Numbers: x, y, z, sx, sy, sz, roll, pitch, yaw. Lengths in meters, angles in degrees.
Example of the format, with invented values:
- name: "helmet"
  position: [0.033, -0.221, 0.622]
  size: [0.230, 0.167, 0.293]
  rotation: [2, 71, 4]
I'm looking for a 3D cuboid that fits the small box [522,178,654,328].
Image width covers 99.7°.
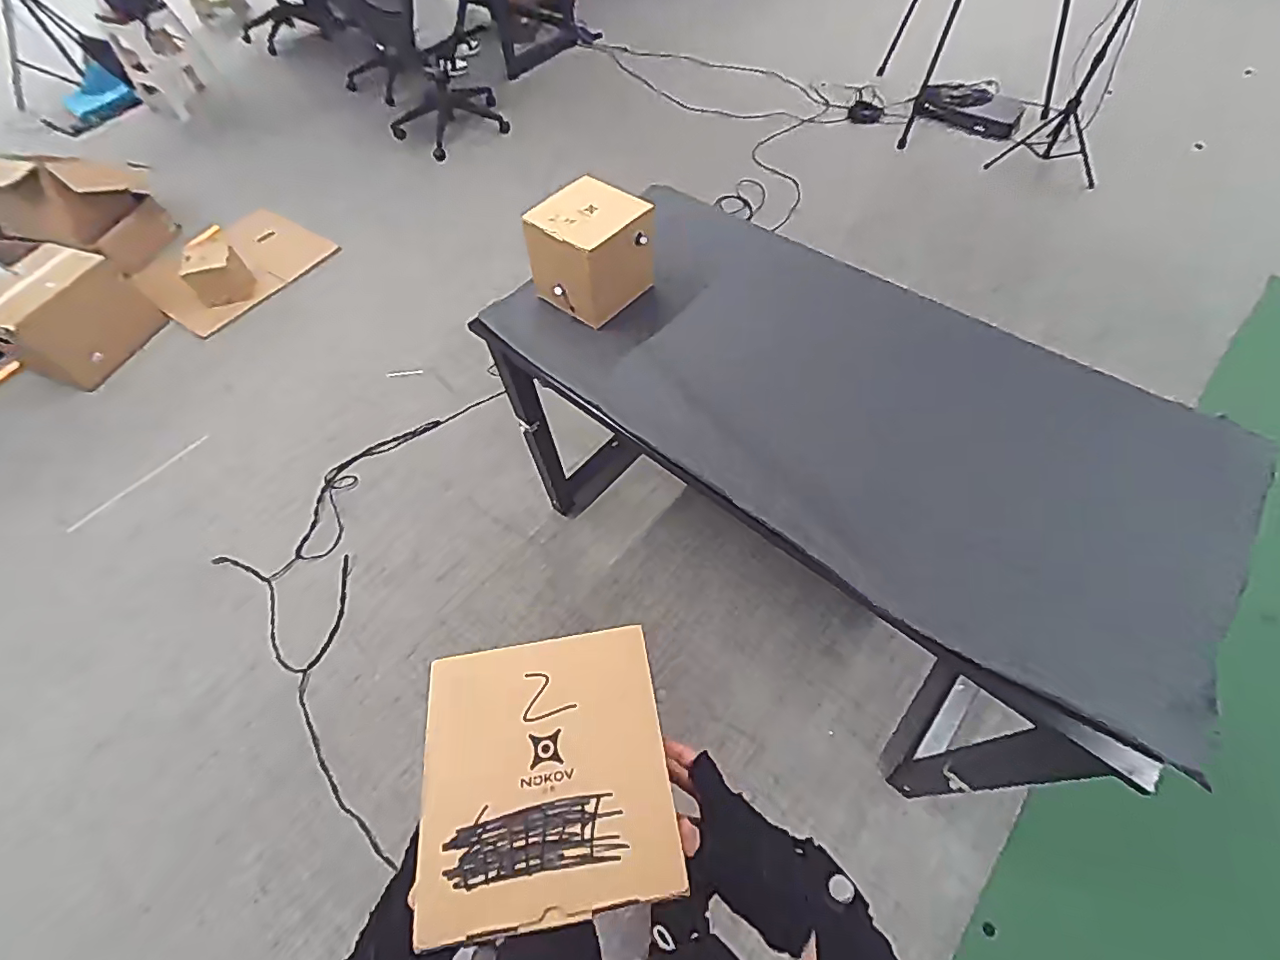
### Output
- name: "small box"
  position: [-0.092, -0.424, 1.016]
  size: [0.168, 0.176, 0.179]
  rotation: [34, 64, 21]
